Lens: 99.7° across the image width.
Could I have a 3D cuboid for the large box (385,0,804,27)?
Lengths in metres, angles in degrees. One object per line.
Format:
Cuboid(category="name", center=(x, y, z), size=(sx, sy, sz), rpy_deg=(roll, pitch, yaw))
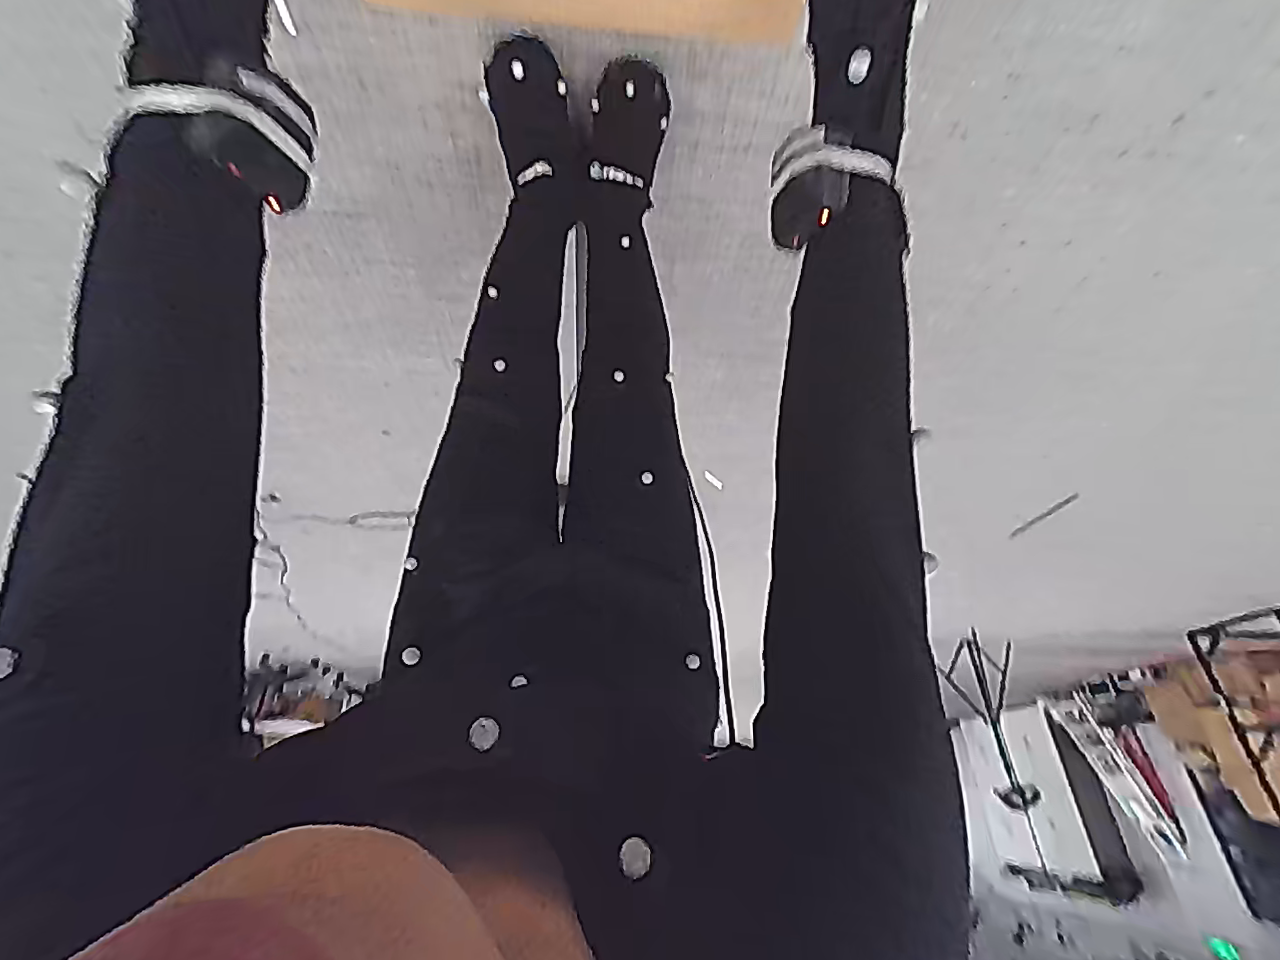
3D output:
Cuboid(category="large box", center=(-0.042, -0.643, 0.451), size=(0.408, 0.320, 0.320), rpy_deg=(0, 151, -5))
